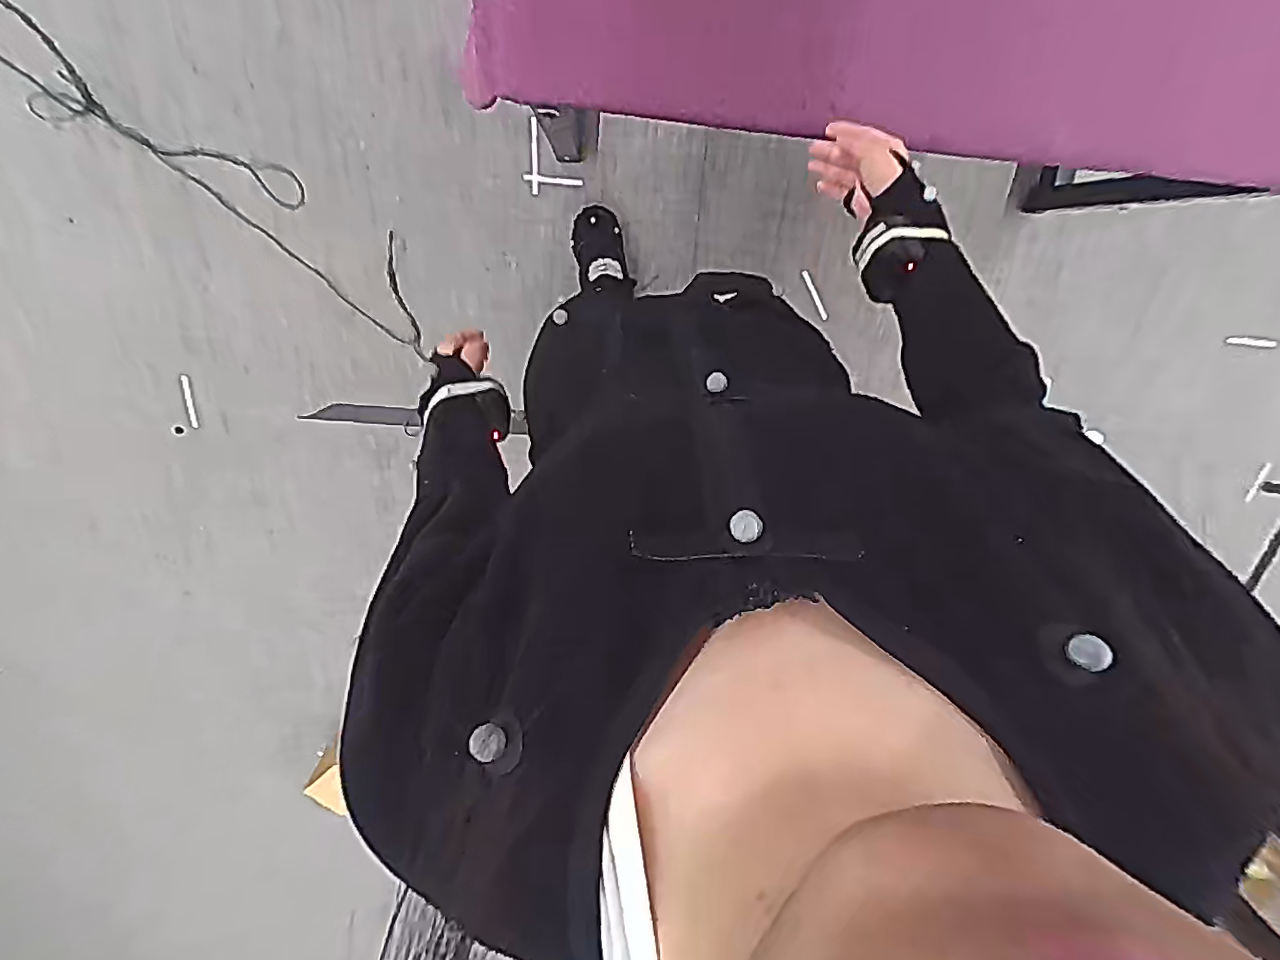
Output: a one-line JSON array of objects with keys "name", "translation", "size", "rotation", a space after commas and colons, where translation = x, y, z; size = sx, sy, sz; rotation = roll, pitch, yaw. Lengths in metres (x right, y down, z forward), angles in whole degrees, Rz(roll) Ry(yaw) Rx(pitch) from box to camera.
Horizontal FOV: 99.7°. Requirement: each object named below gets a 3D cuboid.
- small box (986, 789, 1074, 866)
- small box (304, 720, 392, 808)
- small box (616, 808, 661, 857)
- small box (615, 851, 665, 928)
[{"name": "small box", "translation": [1.400, 1.258, 1.958], "size": [0.168, 0.176, 0.179], "rotation": [7, 112, -8]}, {"name": "small box", "translation": [-0.982, 0.962, 1.838], "size": [0.179, 0.176, 0.168], "rotation": [-39, 110, 13]}, {"name": "small box", "translation": [-0.010, 1.407, 2.106], "size": [0.168, 0.176, 0.179], "rotation": [-1, 115, -3]}, {"name": "small box", "translation": [-0.005, 1.473, 1.955], "size": [0.168, 0.176, 0.179], "rotation": [0, 114, -4]}]
